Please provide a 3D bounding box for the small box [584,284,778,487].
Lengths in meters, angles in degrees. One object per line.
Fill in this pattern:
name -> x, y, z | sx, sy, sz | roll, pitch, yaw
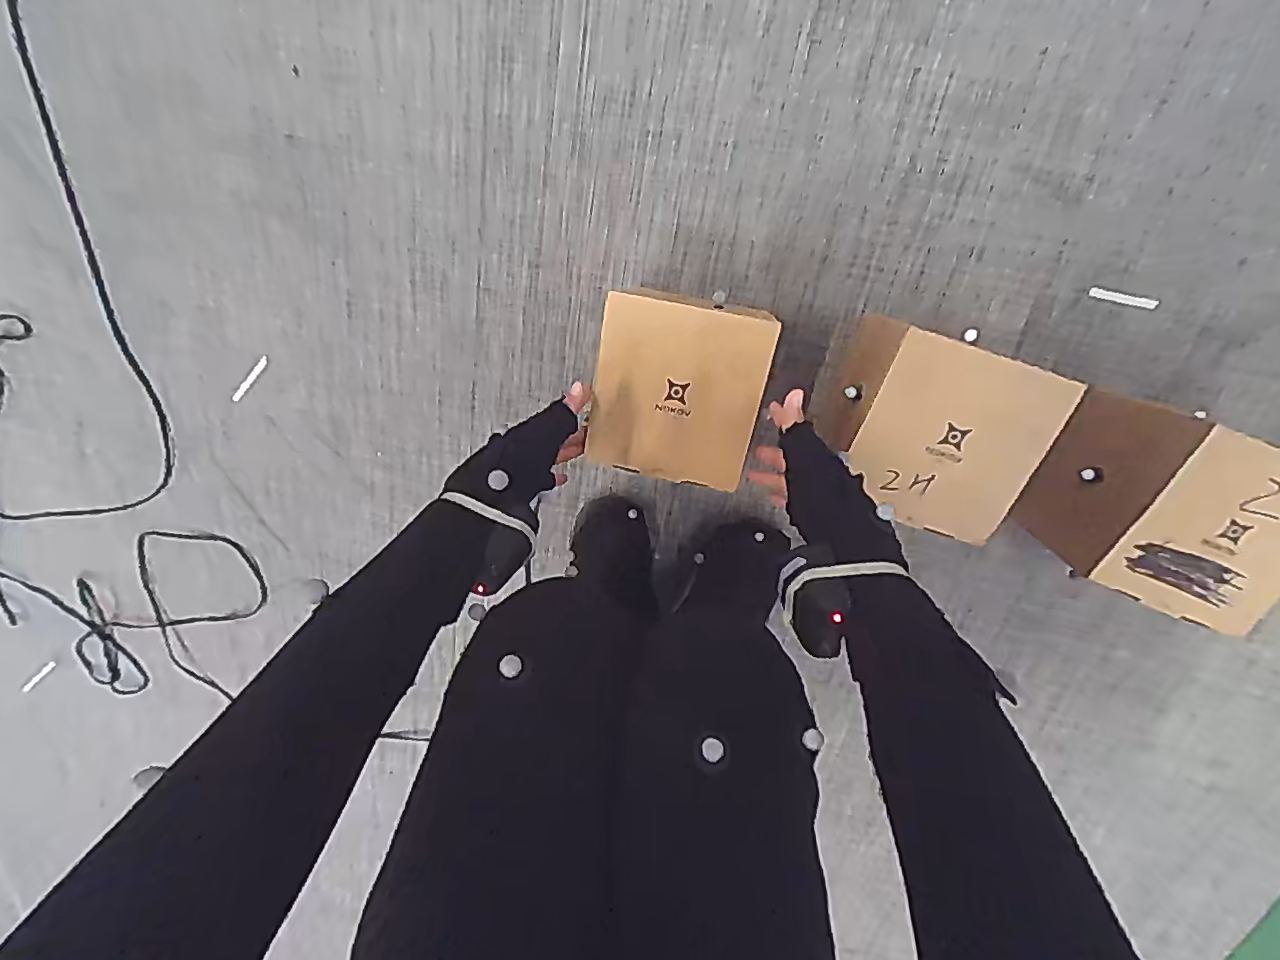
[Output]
small box -> 0.045, -0.116, 0.607 | 0.168, 0.176, 0.179 | 12, 113, 4

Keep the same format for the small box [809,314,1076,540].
small box -> 0.297, -0.069, 0.584 | 0.168, 0.176, 0.179 | 19, 113, 3
